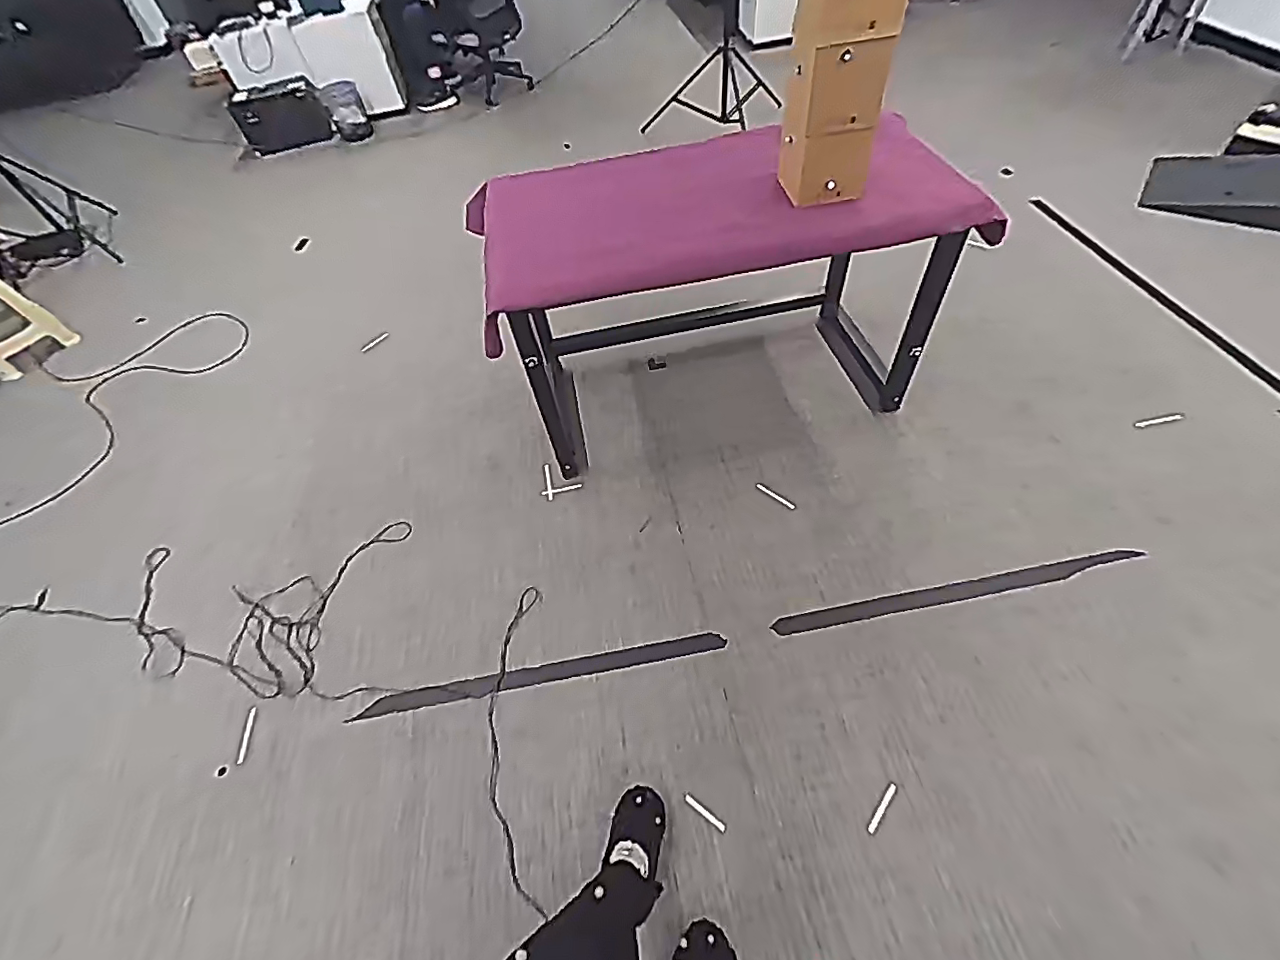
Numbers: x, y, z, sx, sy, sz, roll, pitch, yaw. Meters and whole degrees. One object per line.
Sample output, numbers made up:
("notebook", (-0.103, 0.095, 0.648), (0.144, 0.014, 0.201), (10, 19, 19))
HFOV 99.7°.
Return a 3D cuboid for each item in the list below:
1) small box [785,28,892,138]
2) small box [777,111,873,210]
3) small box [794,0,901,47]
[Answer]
("small box", (0.429, -0.892, 1.205), (0.168, 0.176, 0.179), (-8, 52, 2))
("small box", (0.445, -0.800, 1.339), (0.168, 0.176, 0.179), (-10, 54, 1))
("small box", (0.414, -0.984, 1.070), (0.168, 0.176, 0.179), (-9, 53, 2))
